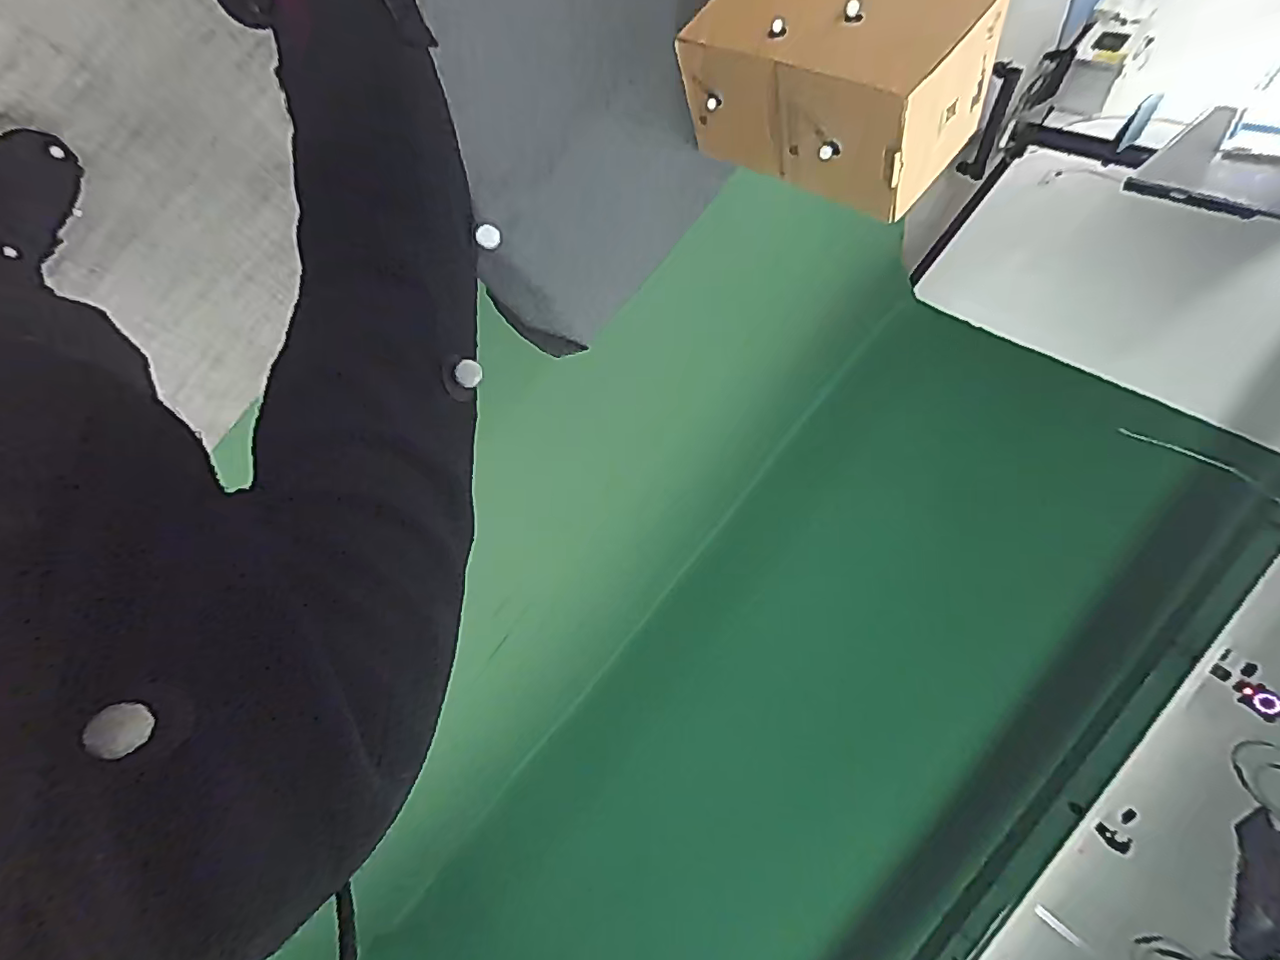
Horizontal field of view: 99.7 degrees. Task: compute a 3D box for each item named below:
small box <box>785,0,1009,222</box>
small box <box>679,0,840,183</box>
[{"bbox_3d":[0.290,-0.458,0.649,0.179,0.176,0.168,-48,152,-4],"label":"small box"},{"bbox_3d":[0.181,-0.552,0.729,0.179,0.176,0.168,-48,152,-4],"label":"small box"}]
